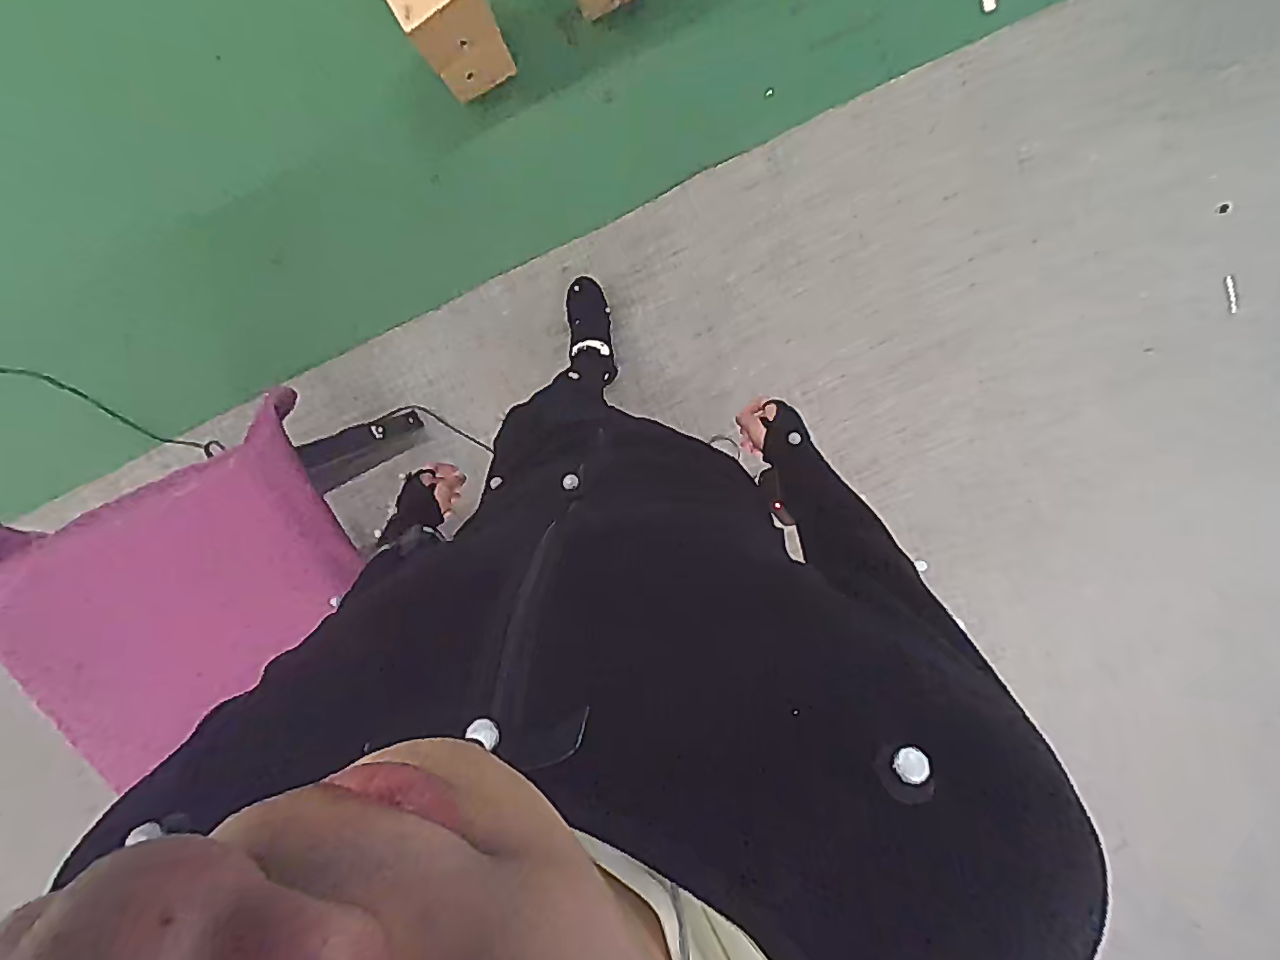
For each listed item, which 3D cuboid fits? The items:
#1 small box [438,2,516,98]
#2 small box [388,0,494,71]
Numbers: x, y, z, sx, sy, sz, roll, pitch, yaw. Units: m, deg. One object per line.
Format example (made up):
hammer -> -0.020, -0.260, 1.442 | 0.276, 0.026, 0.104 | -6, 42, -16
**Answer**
small box -> -0.416, -1.051, 1.280 | 0.168, 0.176, 0.179 | -25, 102, 7
small box -> -0.424, -1.010, 1.122 | 0.179, 0.176, 0.168 | -28, 101, 7
